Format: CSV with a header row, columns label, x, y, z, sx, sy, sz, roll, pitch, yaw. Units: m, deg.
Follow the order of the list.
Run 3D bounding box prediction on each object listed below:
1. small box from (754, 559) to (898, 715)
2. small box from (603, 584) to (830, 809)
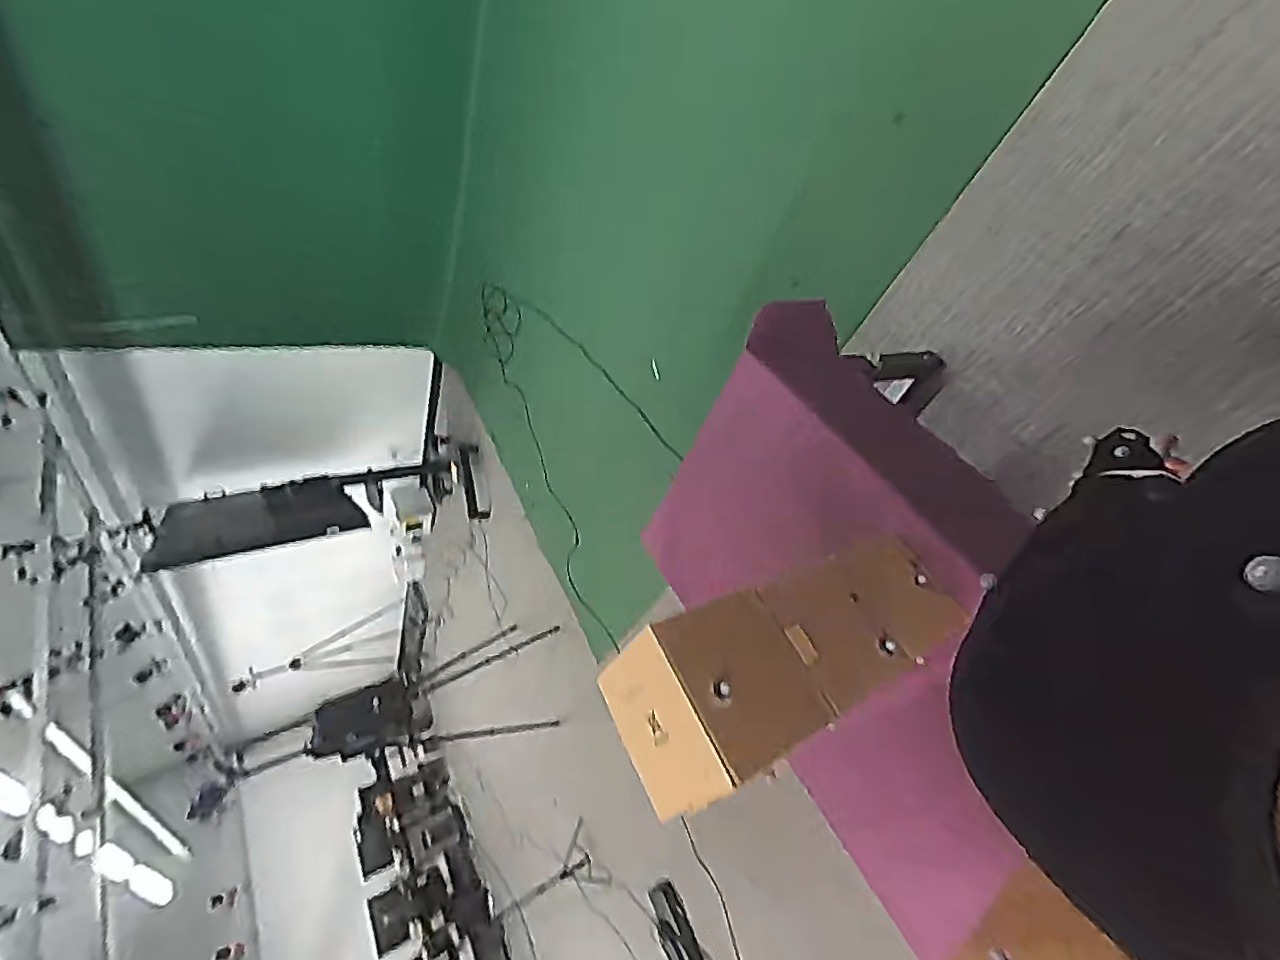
label,x,y,z,sx,sy,sz,roll,pitch,yaw
small box,0.217,0.230,0.741,0.168,0.176,0.179,59,141,27
small box,0.087,0.250,0.644,0.179,0.176,0.168,60,140,26
